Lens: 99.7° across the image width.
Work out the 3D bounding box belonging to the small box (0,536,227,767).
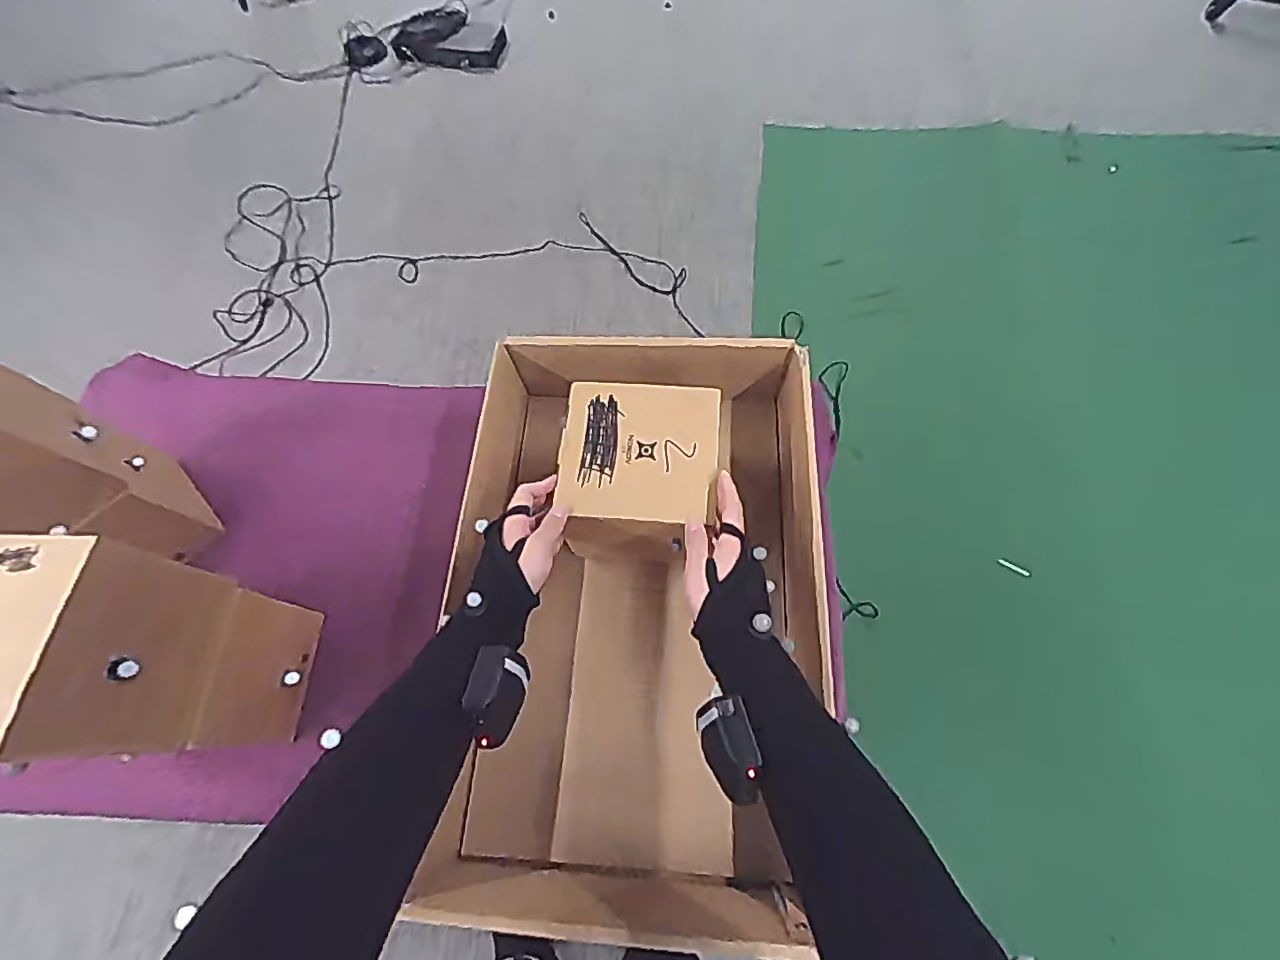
[{"bbox_3d":[-0.538,0.159,0.501,0.168,0.176,0.179,1,66,2],"label":"small box"}]

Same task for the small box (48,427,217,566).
[{"bbox_3d":[-0.737,0.046,0.735,0.168,0.176,0.179,-42,72,-15],"label":"small box"}]

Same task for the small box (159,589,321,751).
[{"bbox_3d":[-0.531,0.229,0.649,0.179,0.176,0.168,0,66,2],"label":"small box"}]

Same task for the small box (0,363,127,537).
[{"bbox_3d":[-0.737,-0.021,0.587,0.179,0.176,0.168,-42,73,-14],"label":"small box"}]
